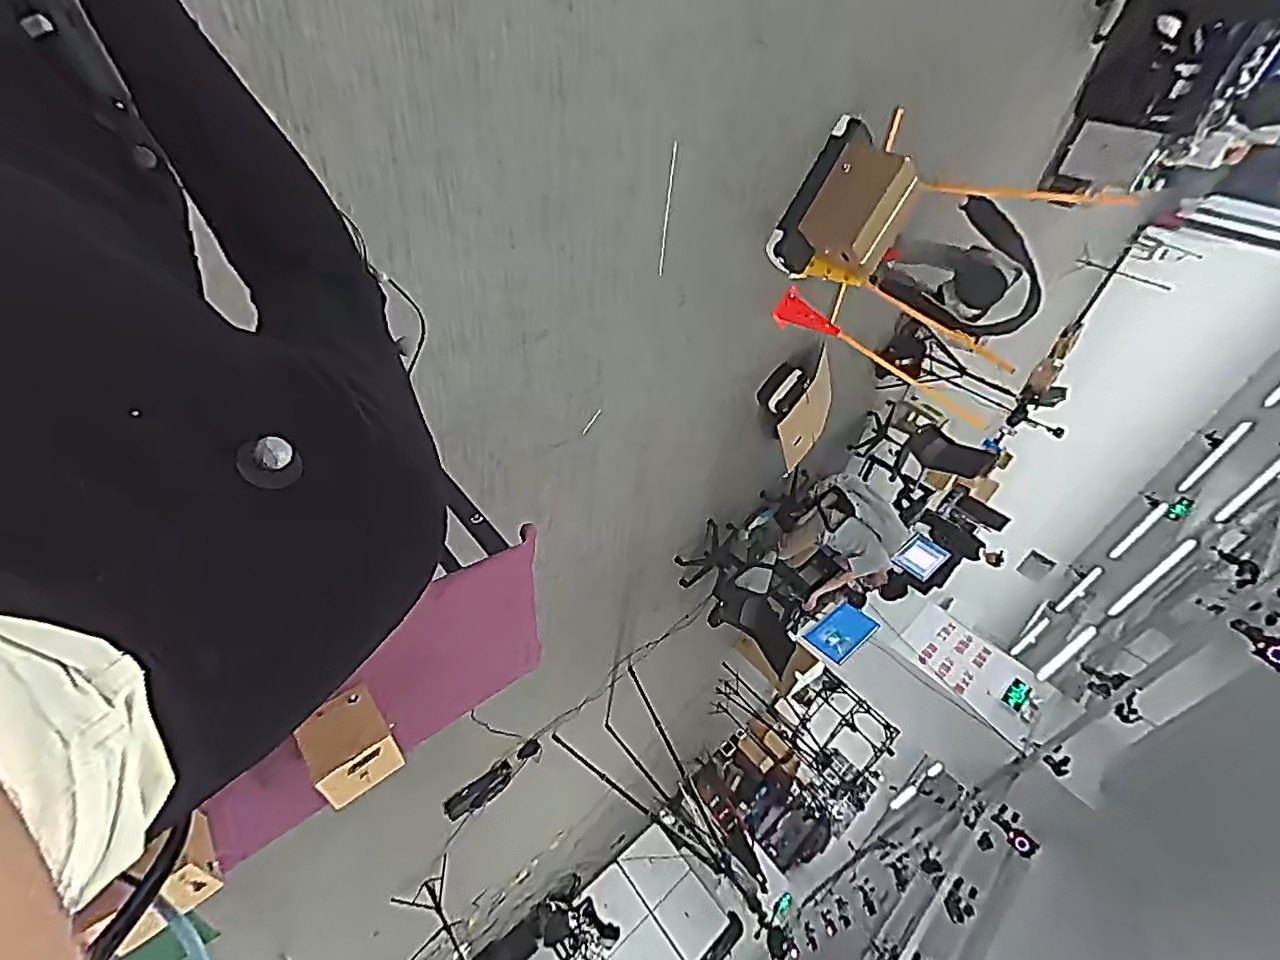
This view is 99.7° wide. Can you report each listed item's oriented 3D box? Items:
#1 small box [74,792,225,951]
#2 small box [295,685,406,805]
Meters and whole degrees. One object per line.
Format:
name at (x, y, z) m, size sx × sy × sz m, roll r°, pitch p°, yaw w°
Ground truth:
small box at (-0.986, 0.779, 1.088) m, size 0.179 × 0.176 × 0.168 m, roll -27°, pitch 142°, yaw -33°
small box at (-0.694, 0.628, 1.300) m, size 0.168 × 0.176 × 0.179 m, roll -28°, pitch 143°, yaw -32°
